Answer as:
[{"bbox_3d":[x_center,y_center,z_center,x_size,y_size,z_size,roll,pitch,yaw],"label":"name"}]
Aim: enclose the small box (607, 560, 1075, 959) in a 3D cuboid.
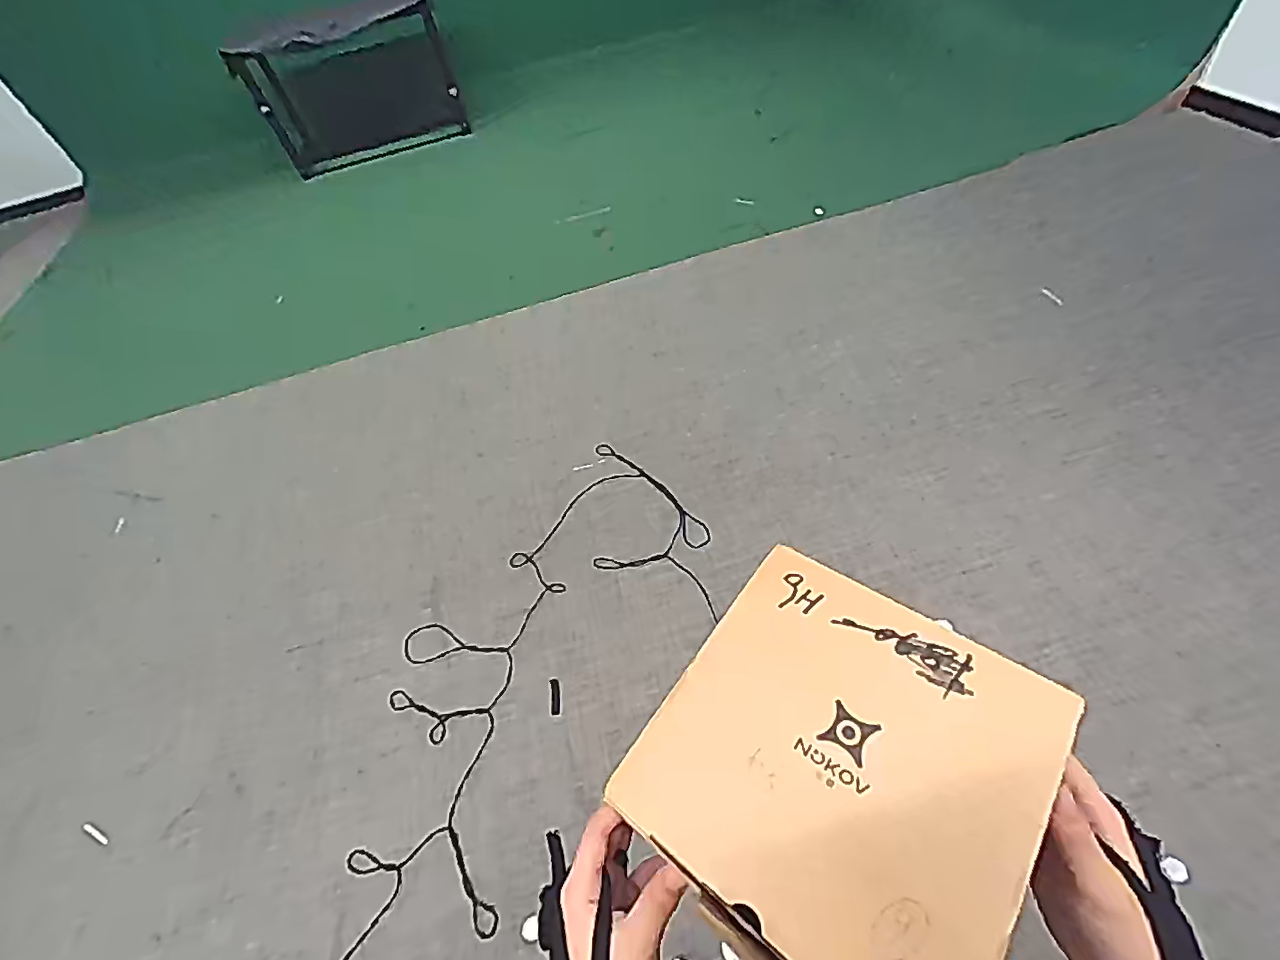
[{"bbox_3d":[0.111,0.188,0.326,0.168,0.176,0.179,27,62,30],"label":"small box"}]
